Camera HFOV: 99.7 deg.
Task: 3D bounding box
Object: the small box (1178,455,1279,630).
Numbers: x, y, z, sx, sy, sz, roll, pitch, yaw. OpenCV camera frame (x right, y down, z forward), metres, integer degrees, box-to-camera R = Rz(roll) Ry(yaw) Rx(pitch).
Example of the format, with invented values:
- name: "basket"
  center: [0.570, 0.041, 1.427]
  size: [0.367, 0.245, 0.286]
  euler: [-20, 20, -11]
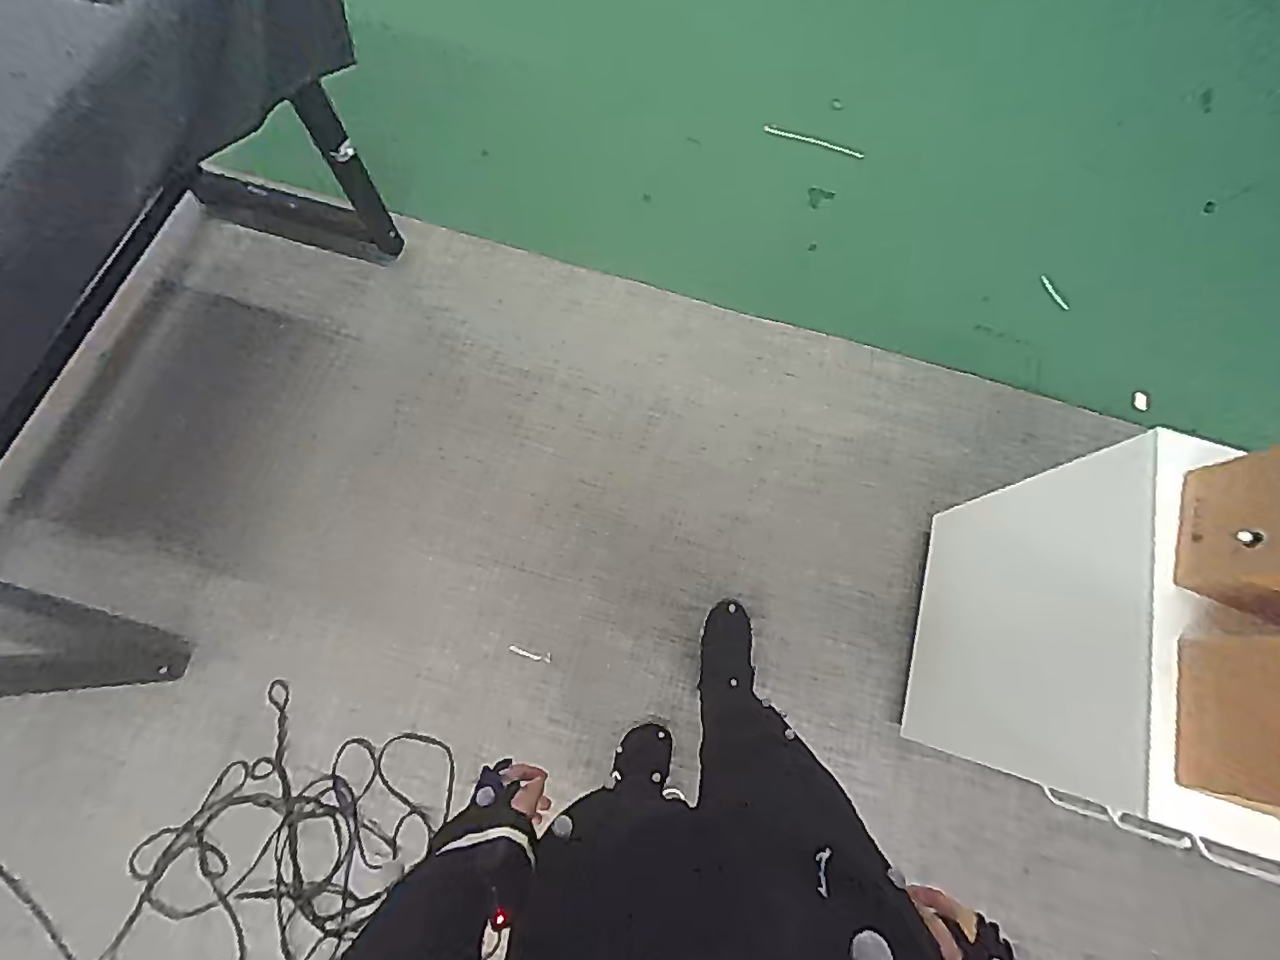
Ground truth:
- name: "small box"
  center: [0.794, 0.078, 0.630]
  size: [0.179, 0.176, 0.168]
  euler: [22, 75, 2]
